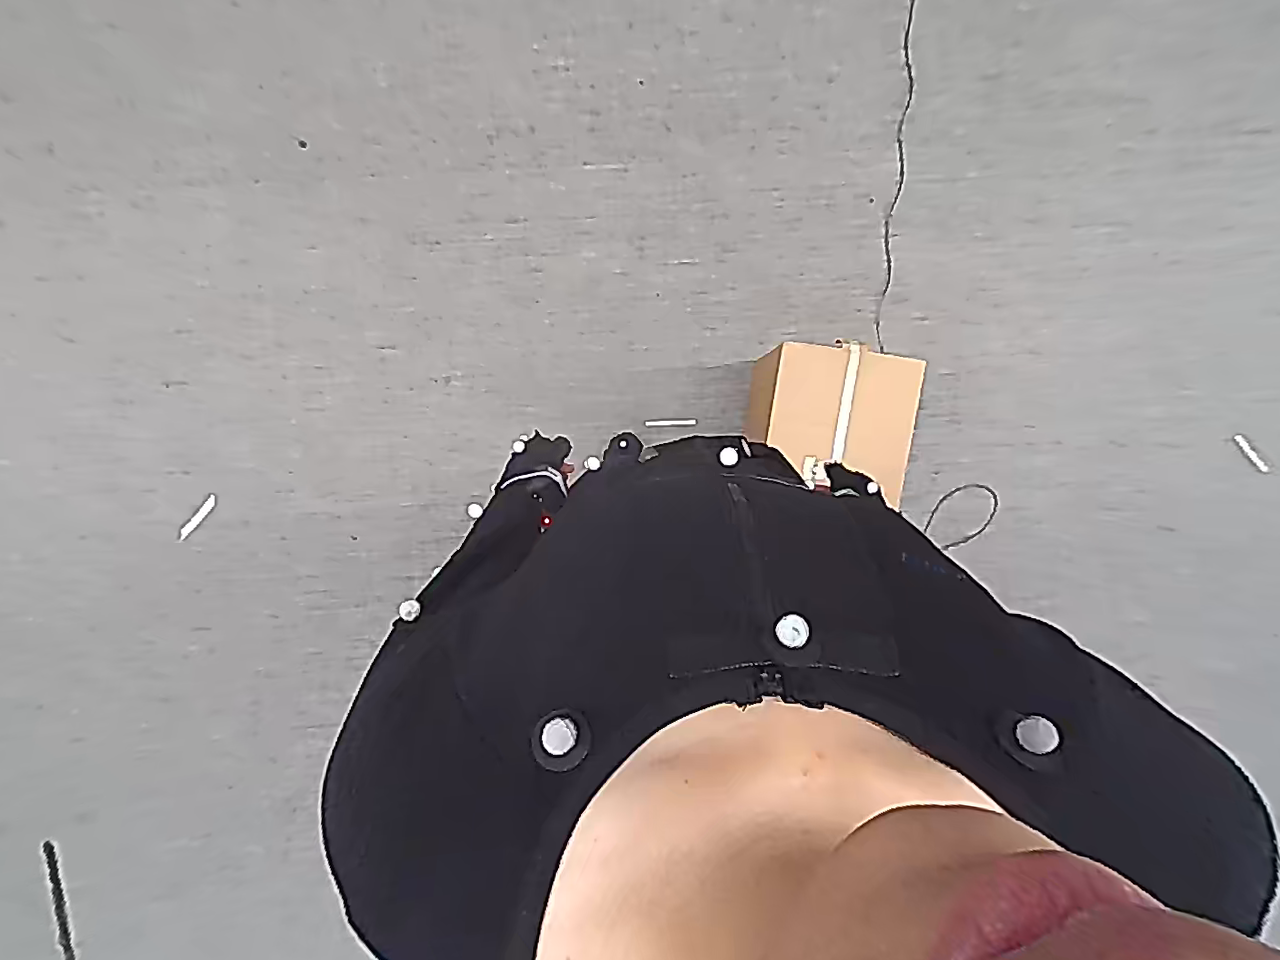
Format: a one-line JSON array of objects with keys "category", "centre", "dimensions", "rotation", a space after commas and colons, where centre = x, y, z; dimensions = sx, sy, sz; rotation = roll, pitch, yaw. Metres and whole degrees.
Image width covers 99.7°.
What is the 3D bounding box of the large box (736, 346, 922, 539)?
[{"category": "large box", "centre": [0.443, -0.098, 1.348], "dimensions": [0.320, 0.320, 0.408], "rotation": [8, 96, 0]}]
